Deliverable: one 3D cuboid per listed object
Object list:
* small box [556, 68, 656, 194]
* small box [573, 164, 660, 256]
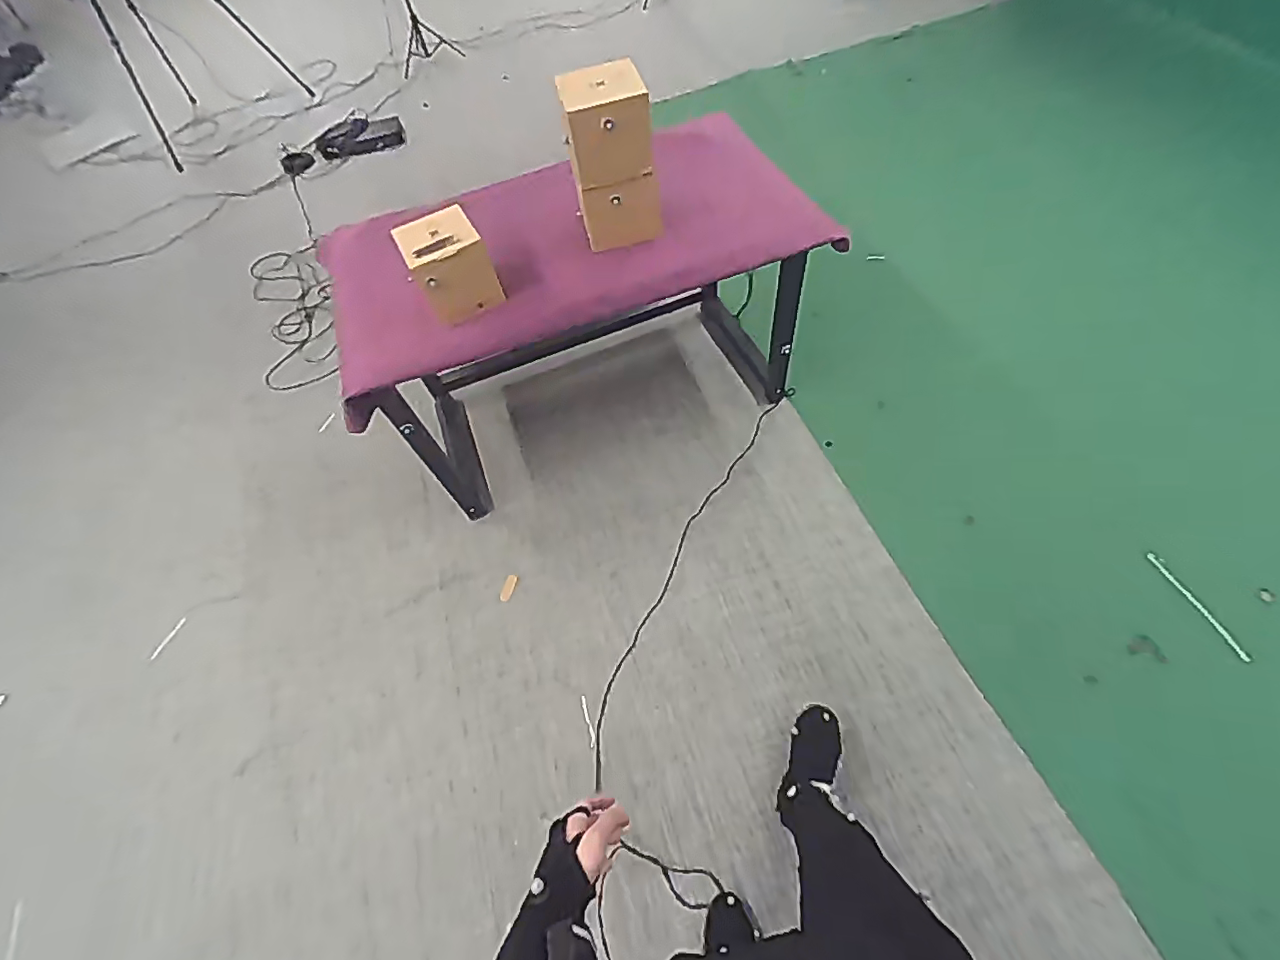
[{"bbox_3d":[-0.071,-0.763,1.194,0.179,0.176,0.168,-15,59,-2],"label":"small box"},{"bbox_3d":[-0.054,-0.682,1.334,0.179,0.176,0.168,-14,58,-2],"label":"small box"}]
